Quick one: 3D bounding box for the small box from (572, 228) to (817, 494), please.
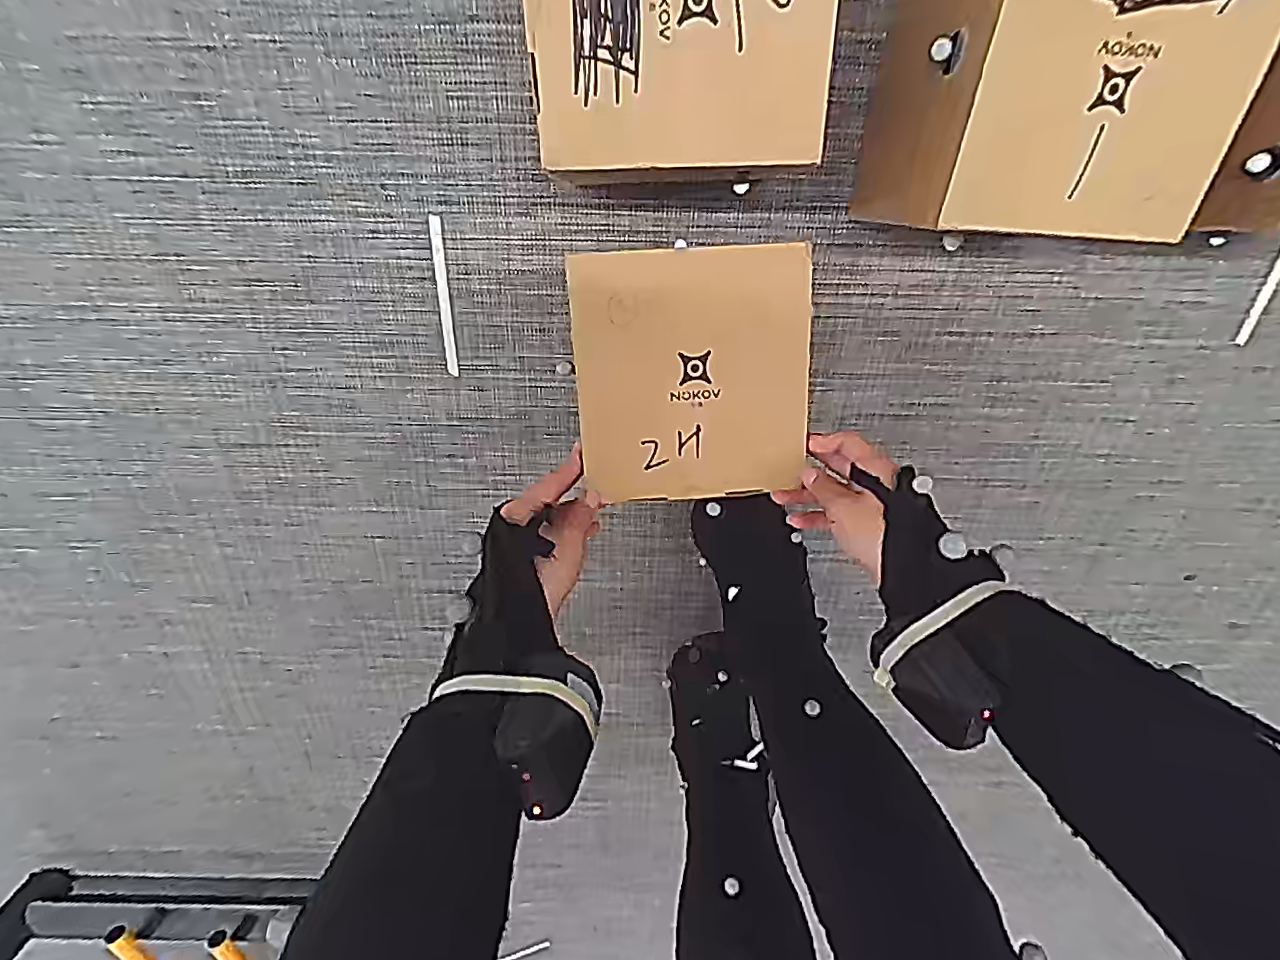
[{"bbox_3d":[0.033,-0.099,0.448,0.168,0.176,0.179,-3,108,-2],"label":"small box"}]

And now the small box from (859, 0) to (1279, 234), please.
[{"bbox_3d":[0.278,-0.278,0.381,0.168,0.176,0.179,3,118,-2],"label":"small box"}]
